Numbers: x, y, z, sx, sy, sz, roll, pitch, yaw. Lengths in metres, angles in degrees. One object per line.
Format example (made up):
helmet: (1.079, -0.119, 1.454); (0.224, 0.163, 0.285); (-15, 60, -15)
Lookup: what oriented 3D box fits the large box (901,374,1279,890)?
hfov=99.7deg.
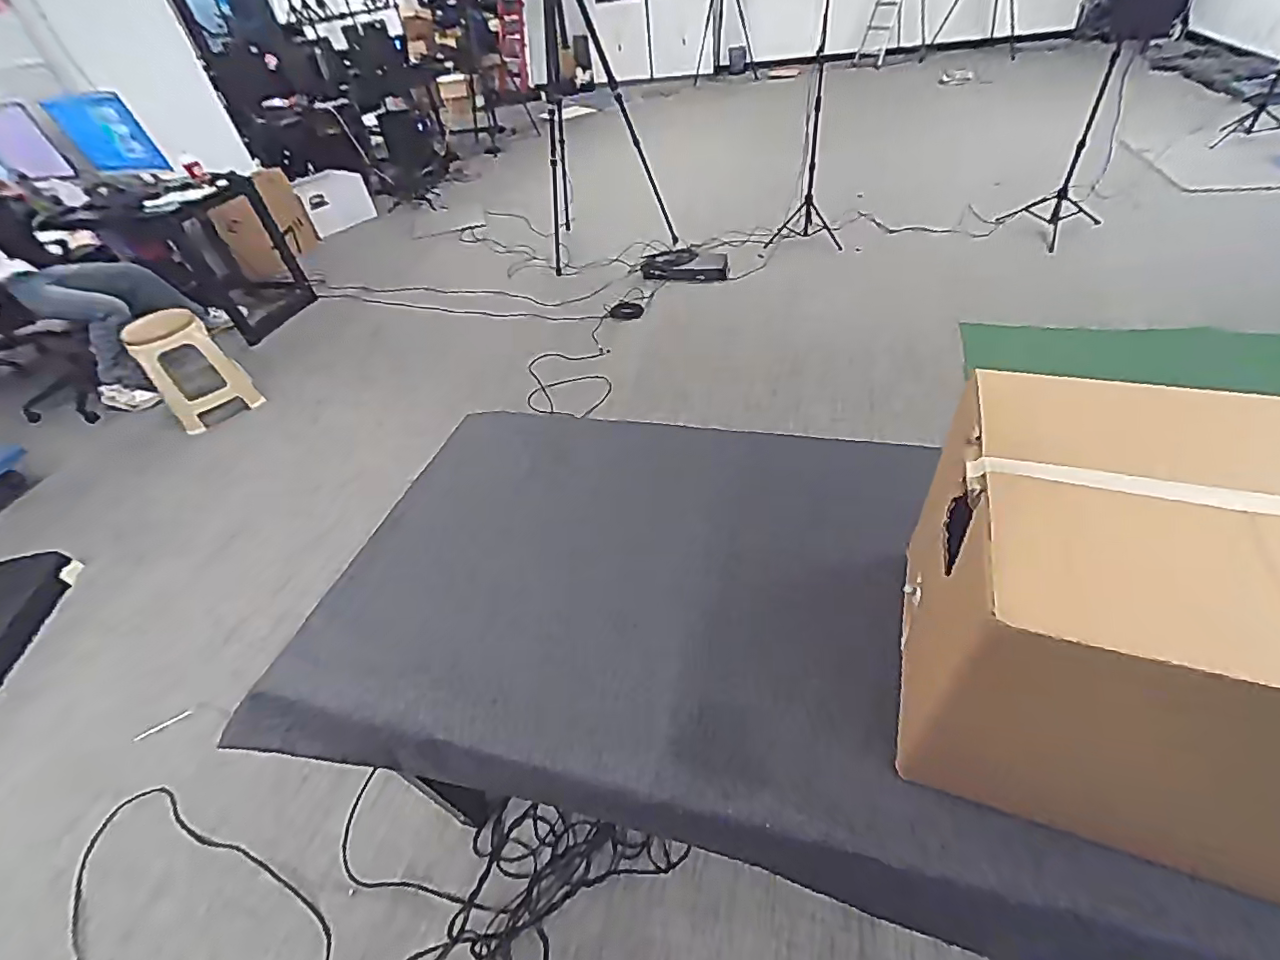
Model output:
large box: (0.493, 0.132, 0.501); (0.408, 0.320, 0.320); (11, 48, 19)
